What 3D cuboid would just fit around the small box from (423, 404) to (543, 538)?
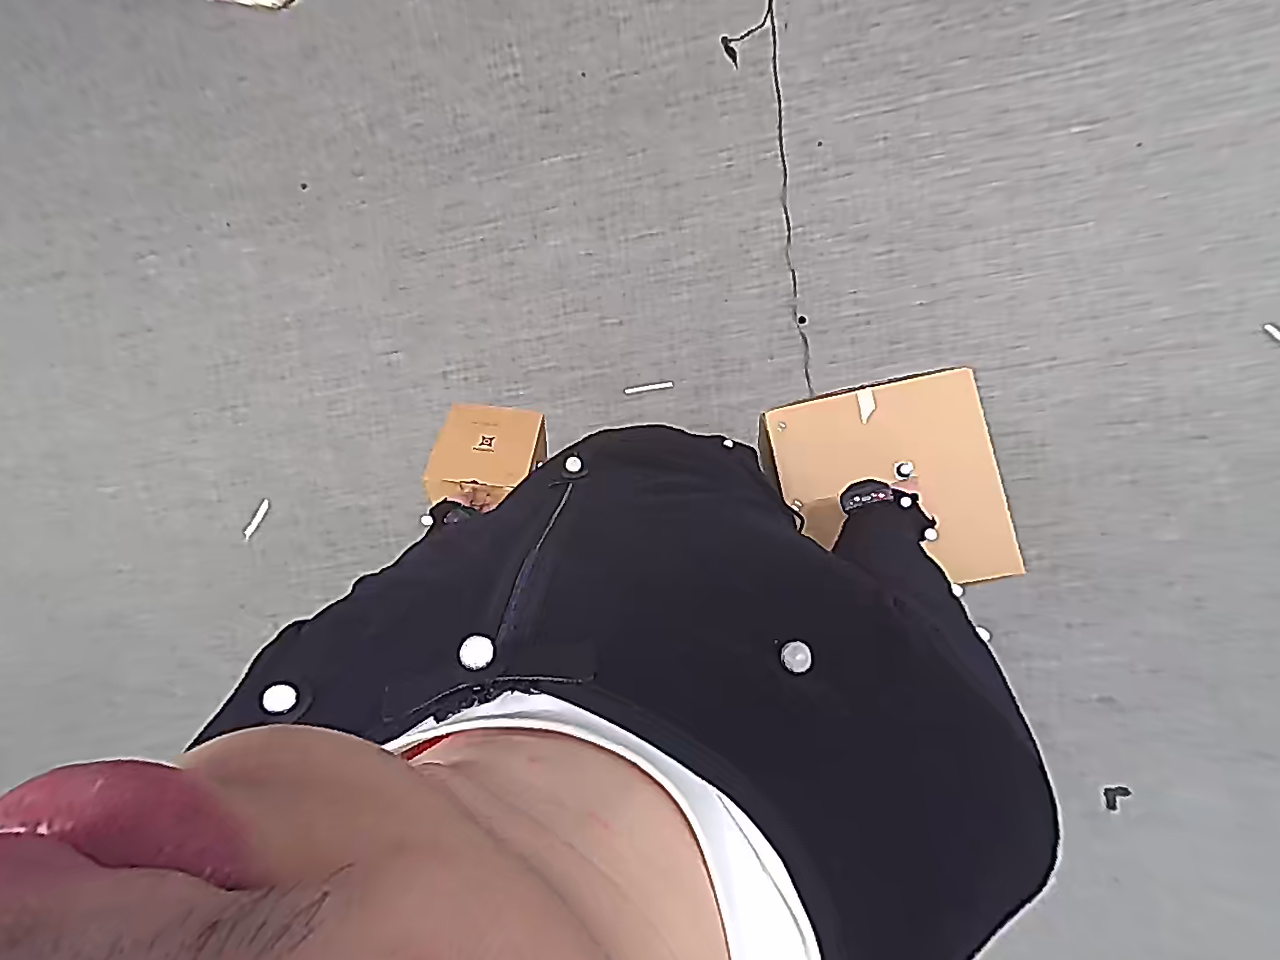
[{"bbox_3d":[-0.273,-0.012,0.989,0.168,0.176,0.179,7,53,-2],"label":"small box"}]
